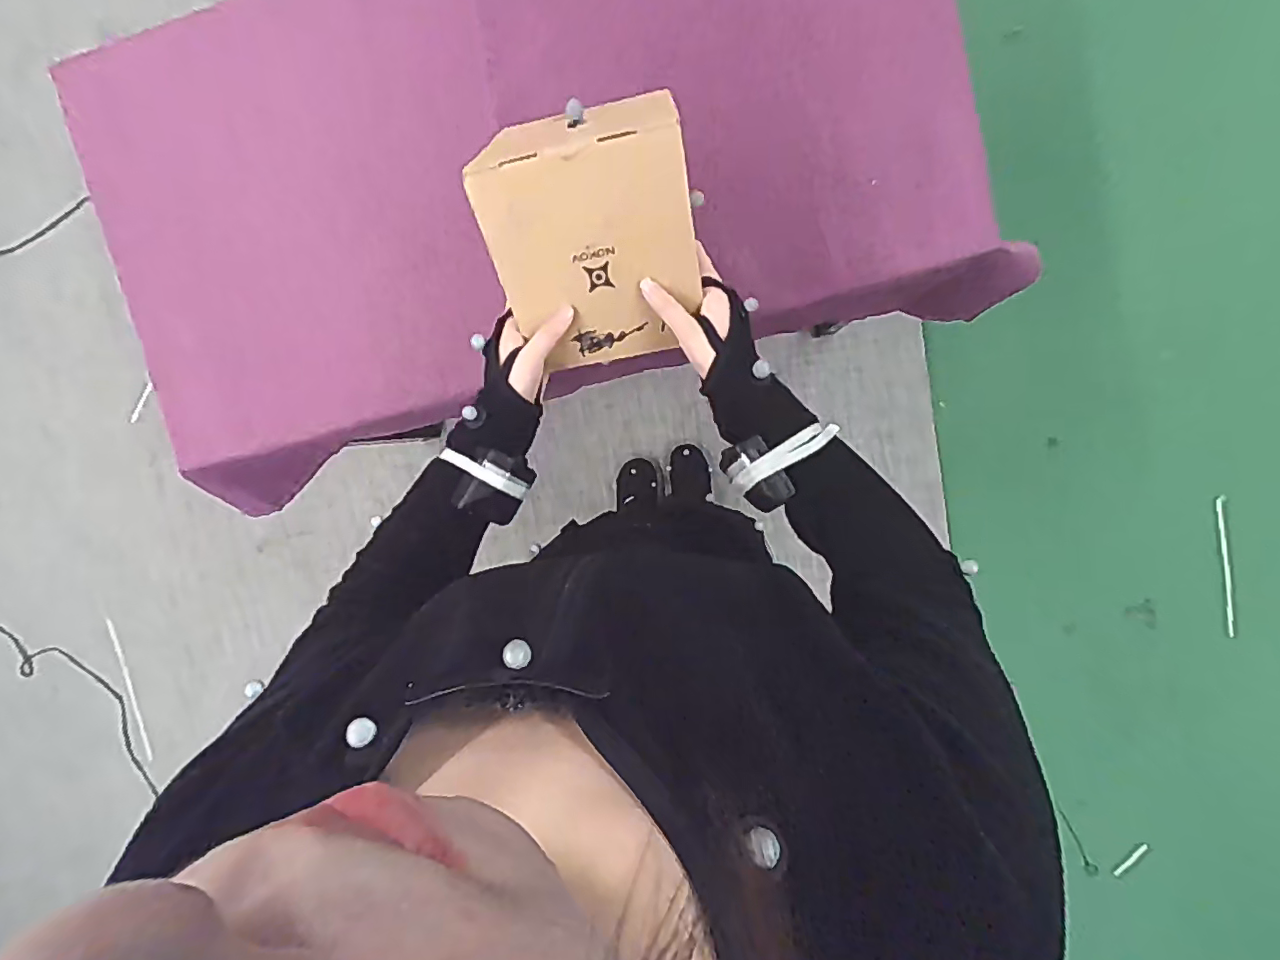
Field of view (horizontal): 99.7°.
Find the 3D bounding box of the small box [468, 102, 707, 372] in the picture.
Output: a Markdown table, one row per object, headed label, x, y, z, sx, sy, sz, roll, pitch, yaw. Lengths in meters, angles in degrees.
| label | x | y | z | sx | sy | sz | roll | pitch | yaw |
| --- | --- | --- | --- | --- | --- | --- | --- | --- | --- |
| small box | -0.034 | -0.229 | 0.502 | 0.168 | 0.176 | 0.179 | -8 | 132 | 8 |
